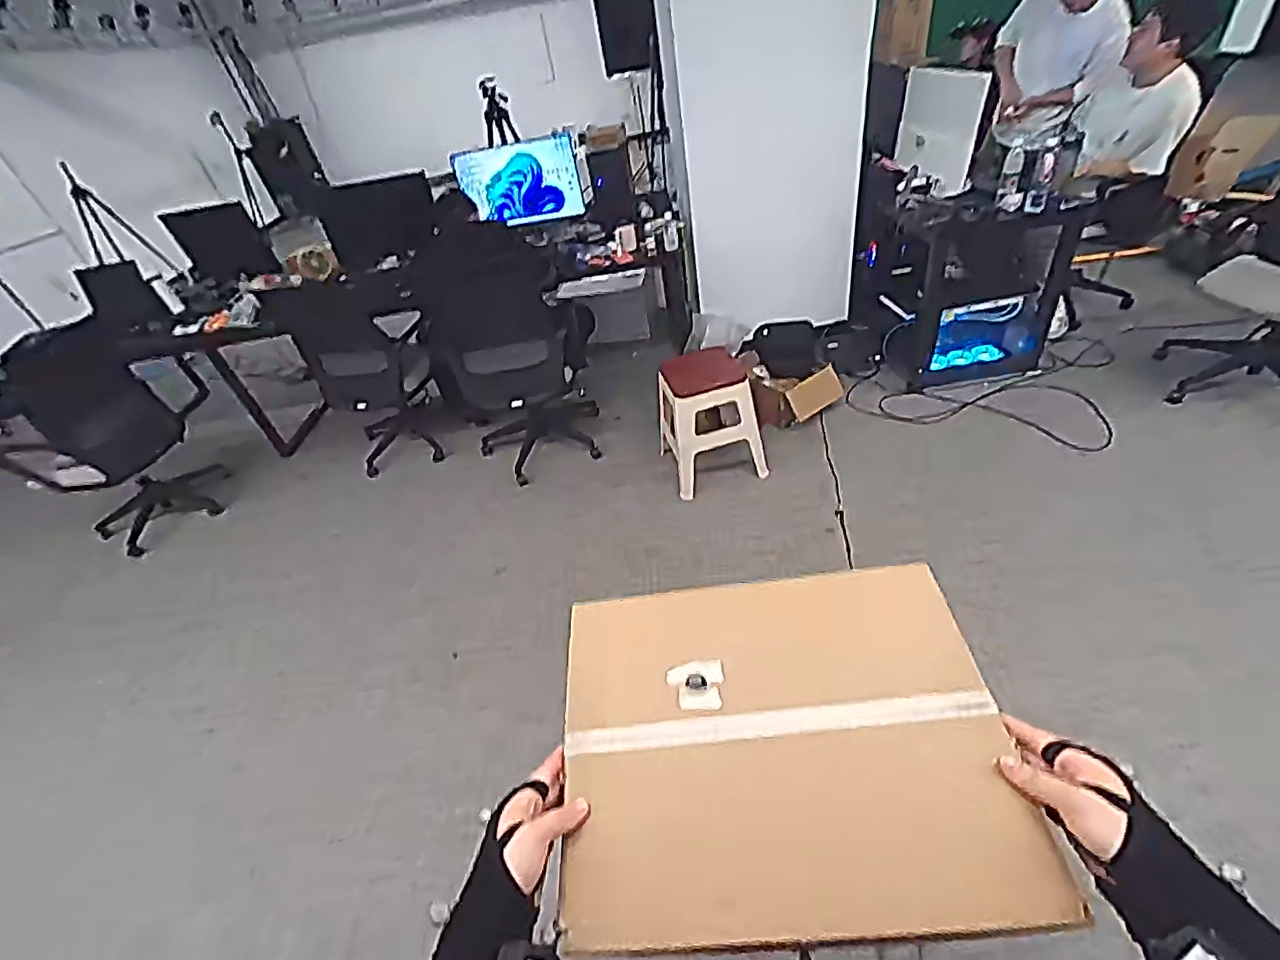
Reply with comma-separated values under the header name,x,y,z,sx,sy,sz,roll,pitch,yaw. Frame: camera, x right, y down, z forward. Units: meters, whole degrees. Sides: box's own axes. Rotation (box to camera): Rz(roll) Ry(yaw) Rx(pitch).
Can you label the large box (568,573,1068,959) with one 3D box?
name,x,y,z,sx,sy,sz,roll,pitch,yaw
large box,0.154,0.346,0.637,0.408,0.320,0.320,-9,45,5
